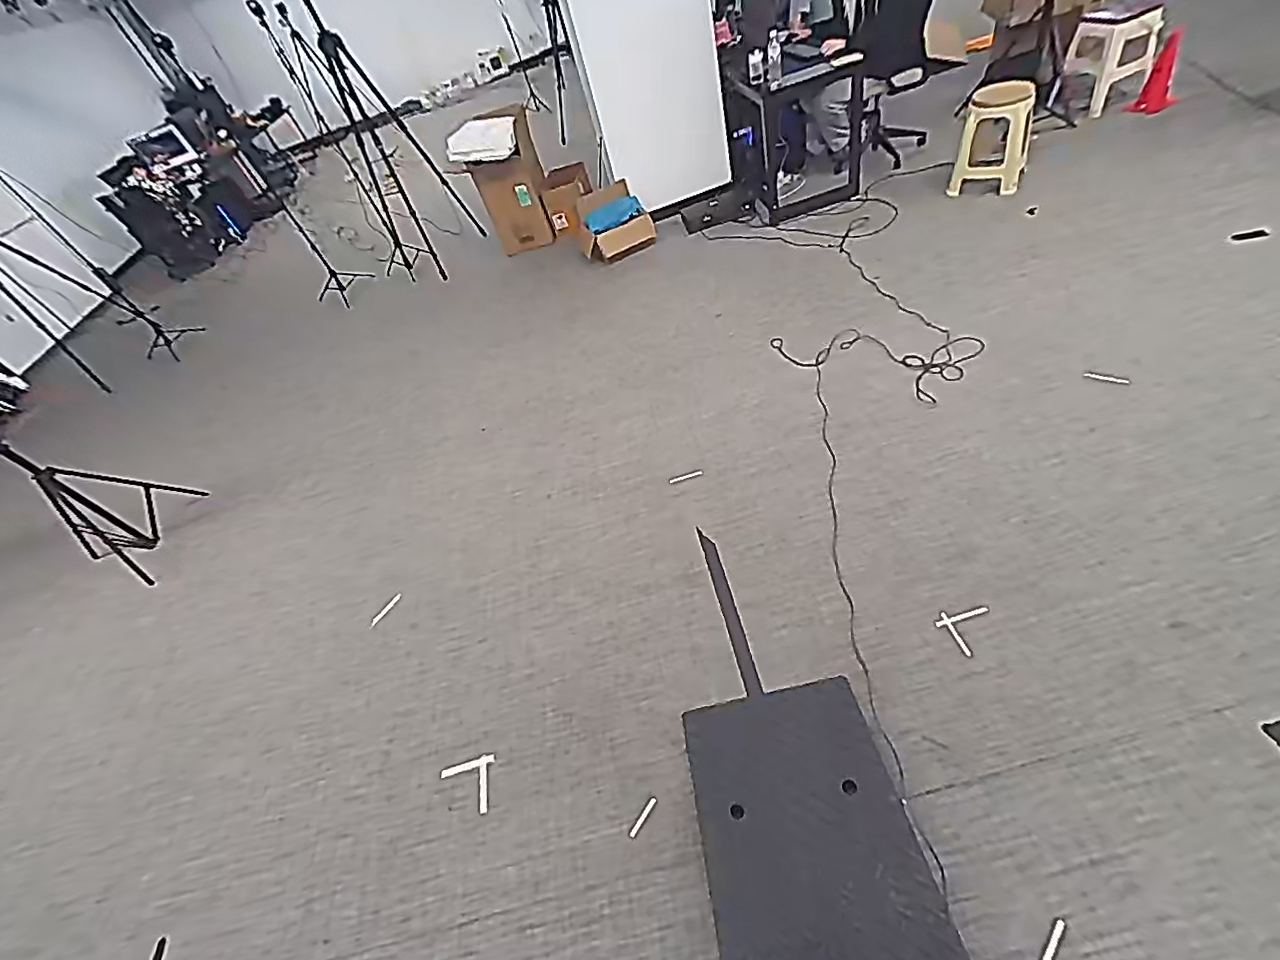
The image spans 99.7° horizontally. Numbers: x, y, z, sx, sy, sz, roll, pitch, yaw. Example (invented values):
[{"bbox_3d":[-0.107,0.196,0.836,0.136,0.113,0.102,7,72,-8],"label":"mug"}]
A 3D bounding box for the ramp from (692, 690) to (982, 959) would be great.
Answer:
[{"bbox_3d":[0.426,0.952,1.165,0.509,0.206,0.991,-19,43,4],"label":"ramp"}]
